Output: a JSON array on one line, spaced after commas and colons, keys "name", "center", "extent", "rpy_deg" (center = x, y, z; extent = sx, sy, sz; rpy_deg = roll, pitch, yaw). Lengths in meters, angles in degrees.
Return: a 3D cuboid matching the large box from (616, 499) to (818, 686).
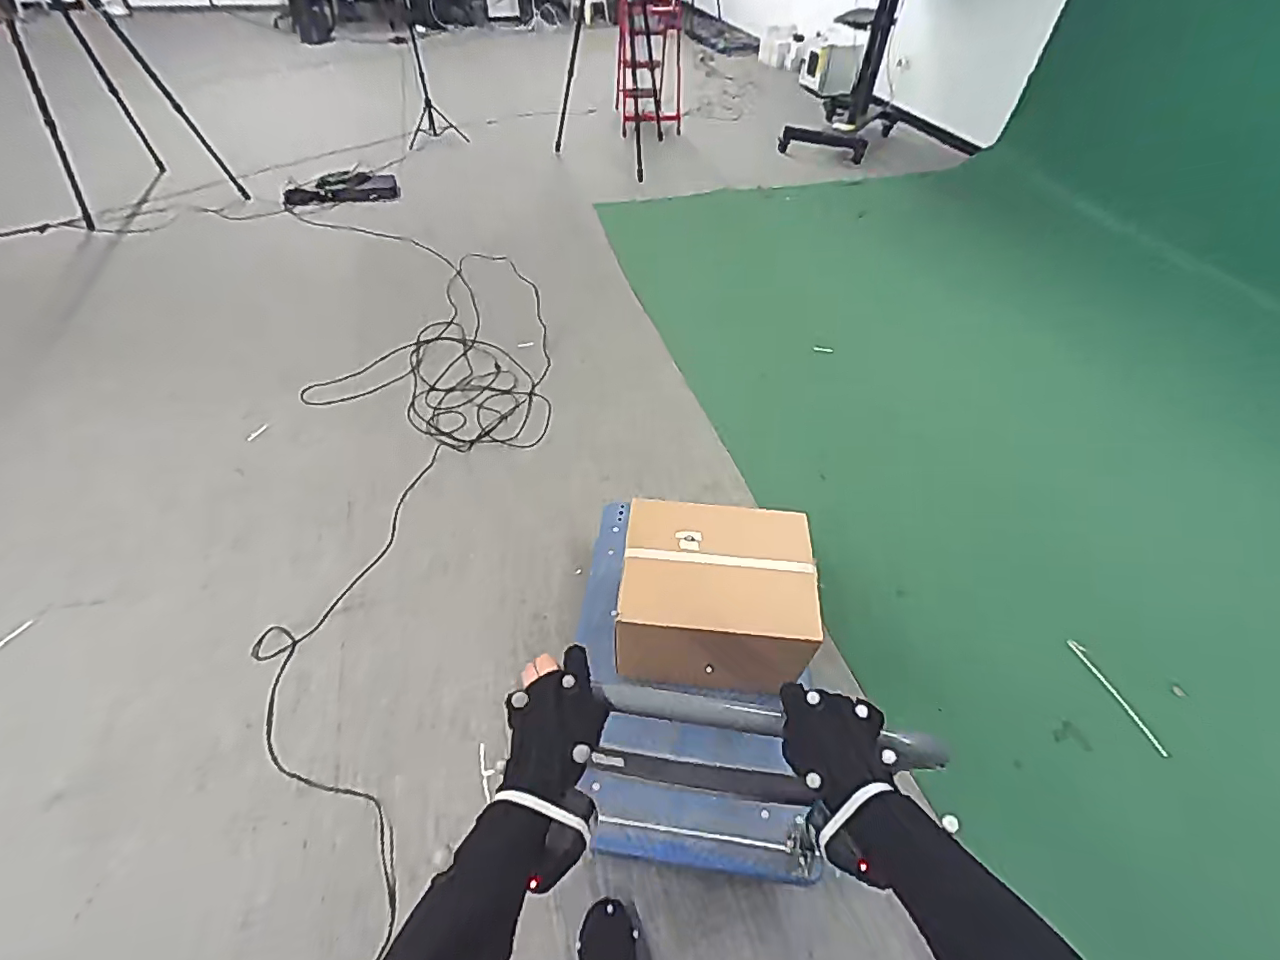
[{"name": "large box", "center": [0.162, 0.267, 1.267], "extent": [0.408, 0.320, 0.320], "rpy_deg": [5, 49, 3]}]
